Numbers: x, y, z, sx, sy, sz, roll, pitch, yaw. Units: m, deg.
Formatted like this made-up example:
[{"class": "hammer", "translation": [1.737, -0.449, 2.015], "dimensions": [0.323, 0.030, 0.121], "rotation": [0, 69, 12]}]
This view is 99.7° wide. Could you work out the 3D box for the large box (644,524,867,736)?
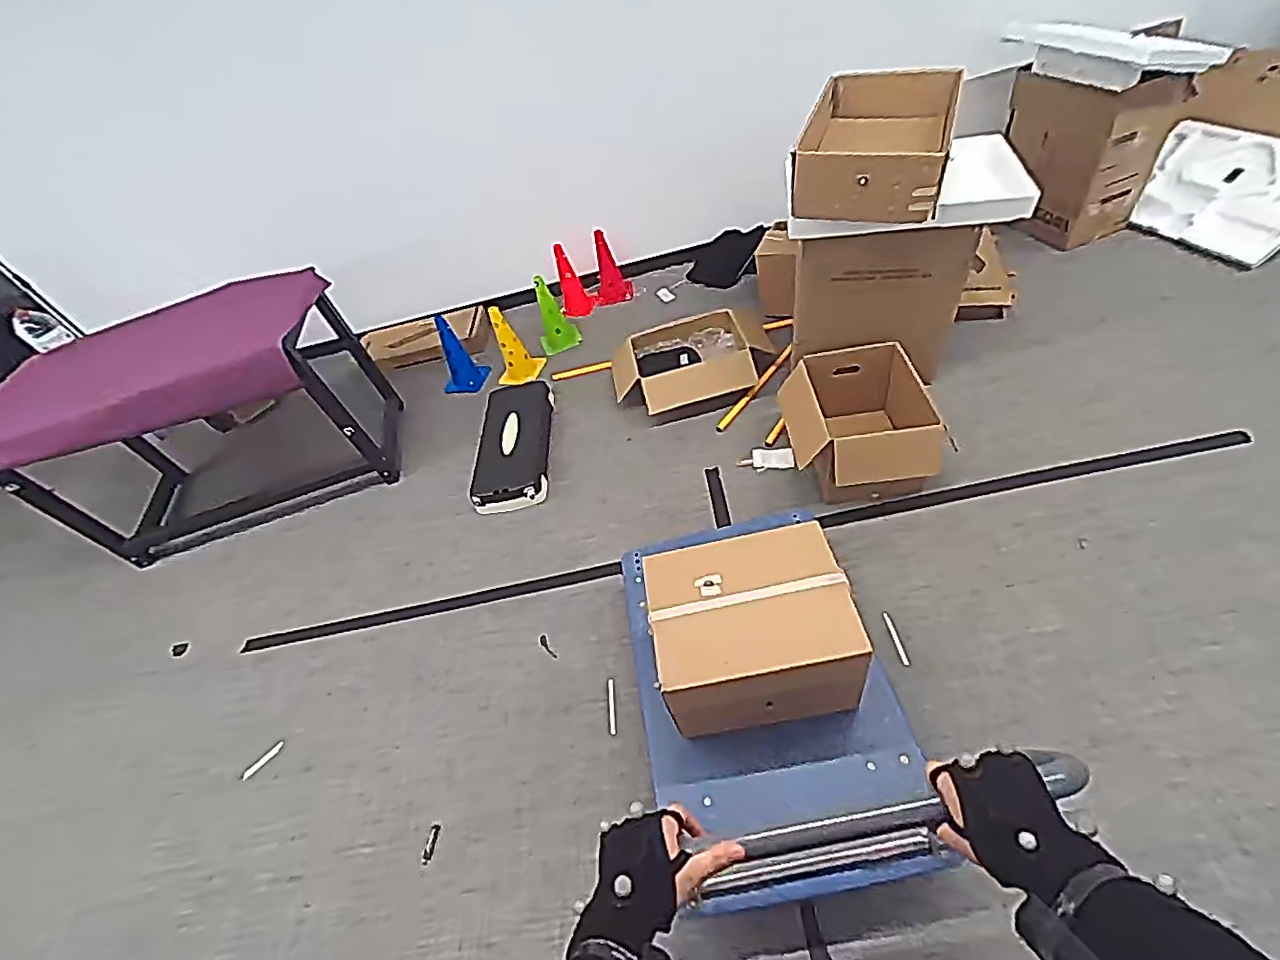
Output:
[{"class": "large box", "translation": [0.251, 0.351, 1.236], "dimensions": [0.408, 0.320, 0.320], "rotation": [-13, 47, 5]}]
